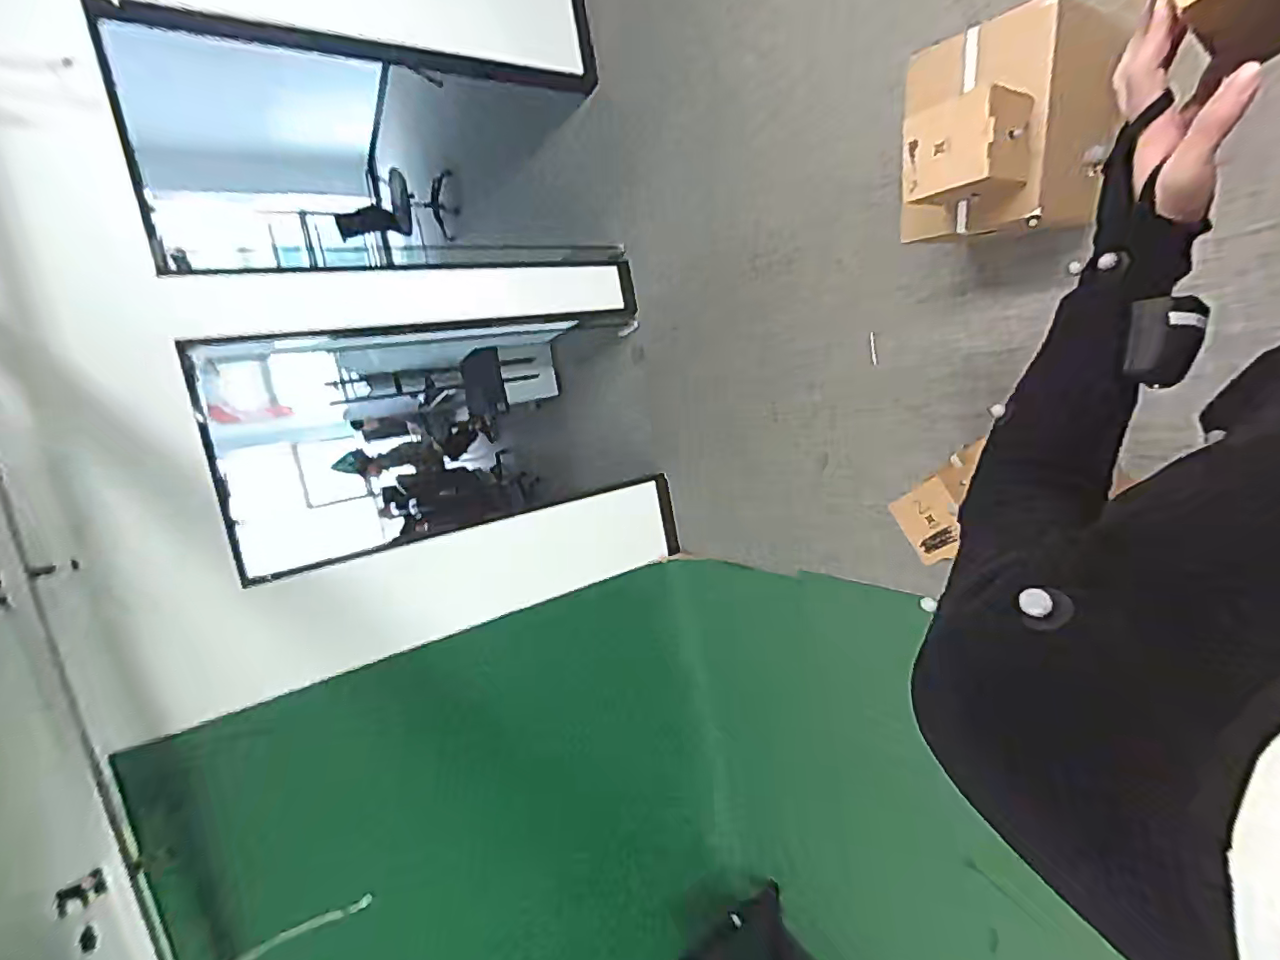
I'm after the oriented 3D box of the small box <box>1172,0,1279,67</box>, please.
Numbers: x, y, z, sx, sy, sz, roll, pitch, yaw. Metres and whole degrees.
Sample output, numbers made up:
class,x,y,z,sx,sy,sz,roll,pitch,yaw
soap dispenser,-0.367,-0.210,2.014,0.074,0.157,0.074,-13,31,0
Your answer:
class,x,y,z,sx,sy,sz,roll,pitch,yaw
small box,0.445,-0.417,0.340,0.179,0.176,0.168,-25,78,54

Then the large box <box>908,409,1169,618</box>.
class,x,y,z,sx,sy,sz,roll,pitch,yaw
large box,1.007,0.079,1.397,0.408,0.320,0.320,63,148,20

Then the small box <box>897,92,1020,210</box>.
class,x,y,z,sx,sy,sz,roll,pitch,yaw
small box,0.672,-0.683,1.144,0.179,0.176,0.168,12,113,55
